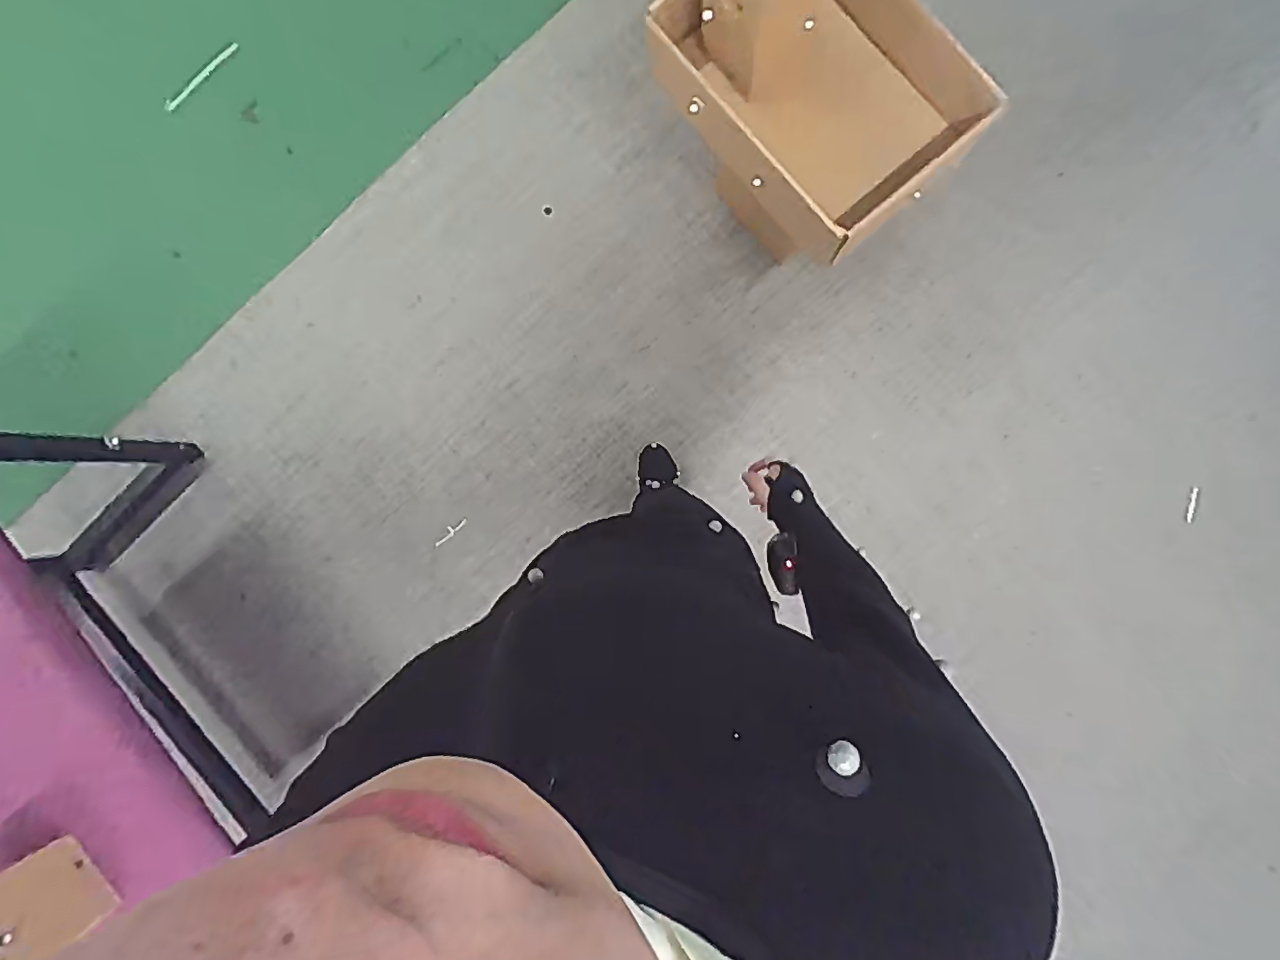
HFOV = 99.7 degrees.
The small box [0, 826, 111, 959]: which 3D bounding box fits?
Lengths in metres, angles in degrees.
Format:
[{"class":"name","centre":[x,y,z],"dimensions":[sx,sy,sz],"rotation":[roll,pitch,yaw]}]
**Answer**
[{"class":"small box","centre":[-1.081,0.748,0.920],"dimensions":[0.179,0.176,0.168],"rotation":[-40,88,4]}]
